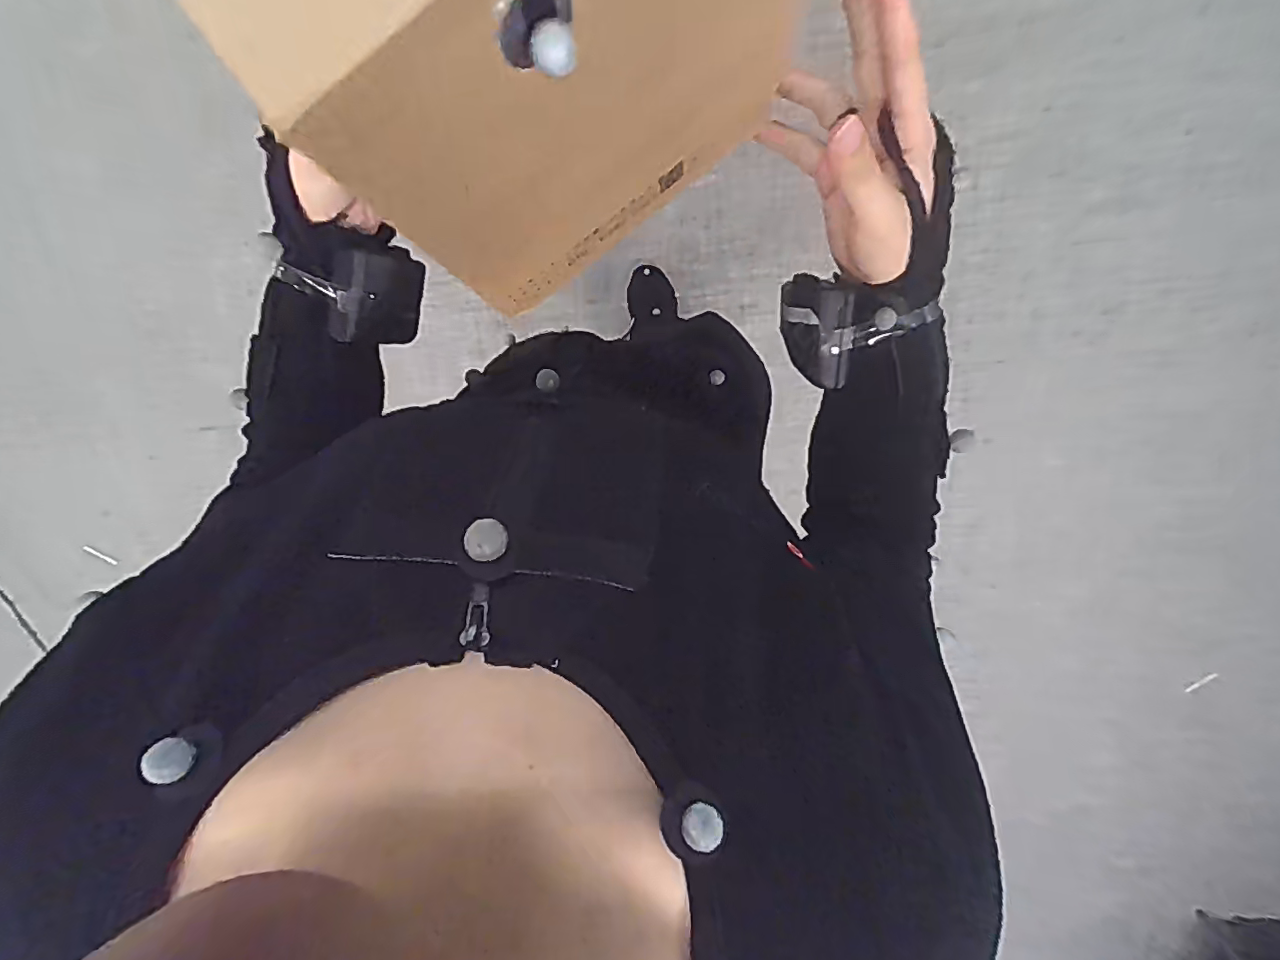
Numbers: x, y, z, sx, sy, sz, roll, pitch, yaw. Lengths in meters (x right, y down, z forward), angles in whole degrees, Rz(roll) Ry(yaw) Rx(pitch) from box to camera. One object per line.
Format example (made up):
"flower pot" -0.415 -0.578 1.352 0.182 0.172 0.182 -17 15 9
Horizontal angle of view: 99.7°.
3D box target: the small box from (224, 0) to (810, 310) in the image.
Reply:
"small box" -0.051 -0.196 0.205 0.168 0.176 0.179 -37 89 6
